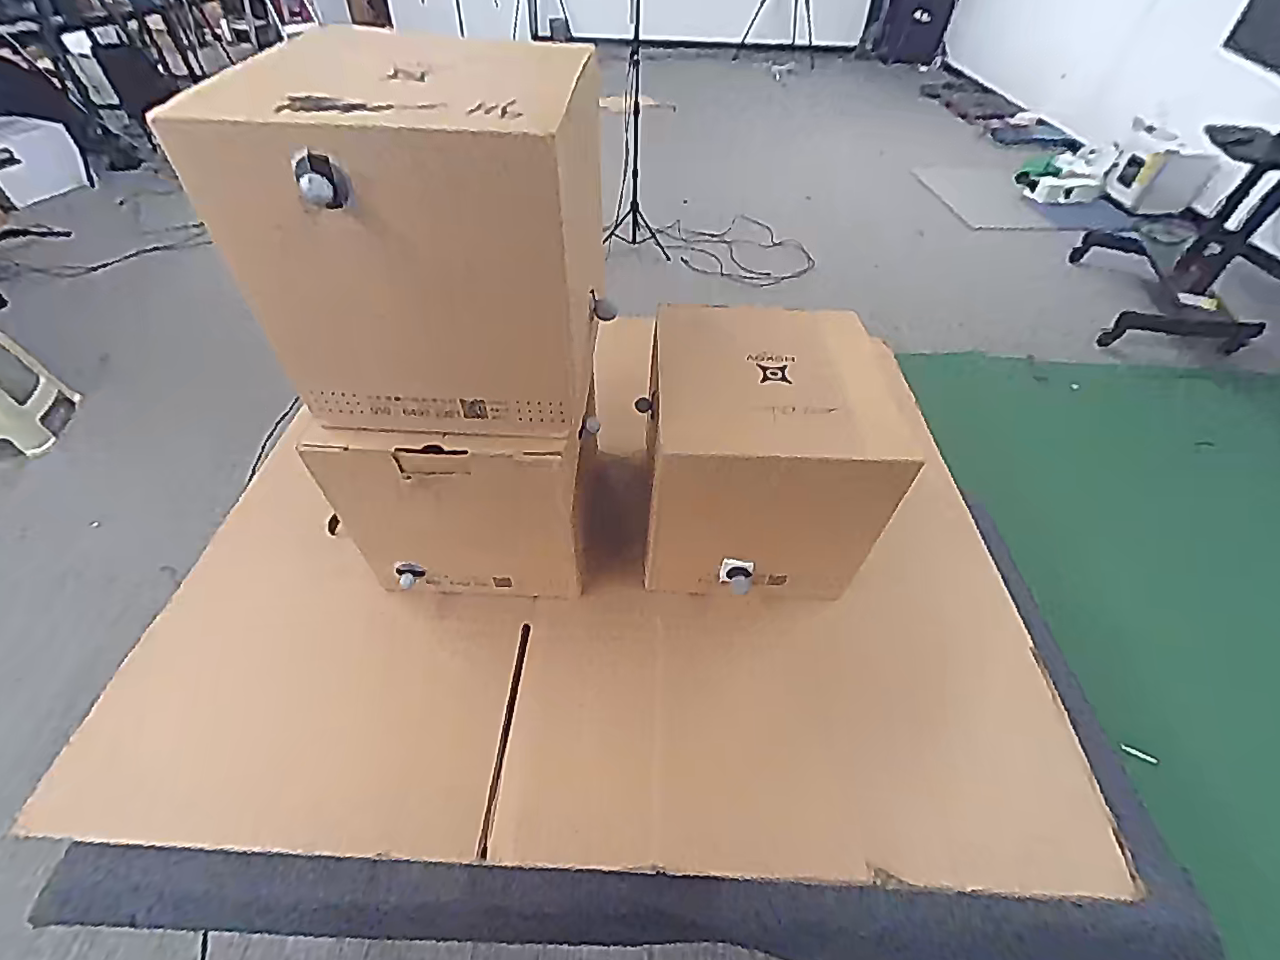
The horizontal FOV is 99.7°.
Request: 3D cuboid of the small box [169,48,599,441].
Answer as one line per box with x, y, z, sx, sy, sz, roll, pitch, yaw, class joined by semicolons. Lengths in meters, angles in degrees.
-0.116;-0.147;0.340;0.168;0.176;0.179;3;47;1;small box
